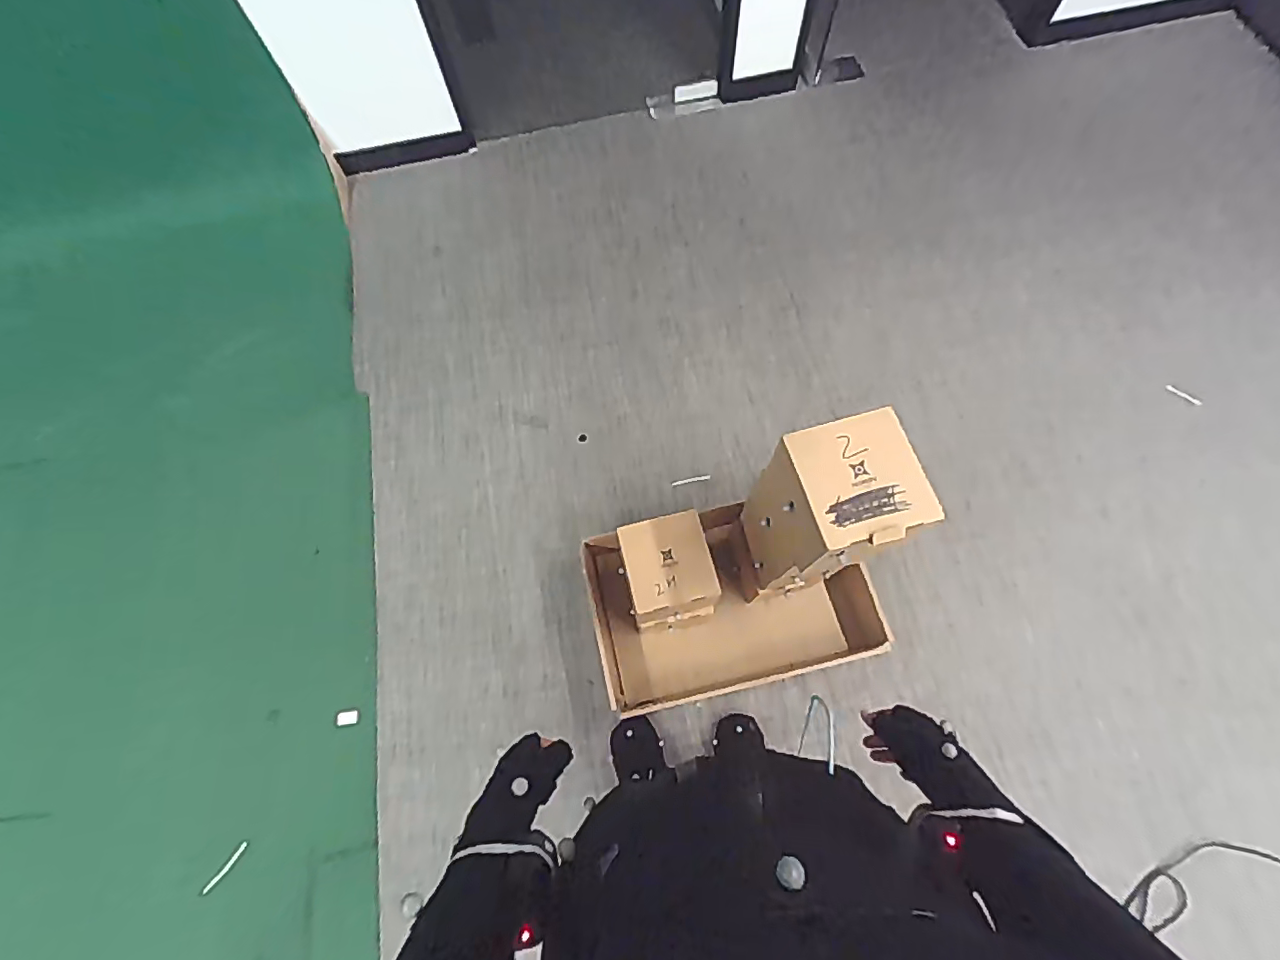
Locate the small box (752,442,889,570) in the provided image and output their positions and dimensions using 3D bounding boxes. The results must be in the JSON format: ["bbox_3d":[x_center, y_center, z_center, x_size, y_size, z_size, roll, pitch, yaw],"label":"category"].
[{"bbox_3d":[0.310,0.056,0.968,0.168,0.176,0.179,-12,70,-2],"label":"small box"}]

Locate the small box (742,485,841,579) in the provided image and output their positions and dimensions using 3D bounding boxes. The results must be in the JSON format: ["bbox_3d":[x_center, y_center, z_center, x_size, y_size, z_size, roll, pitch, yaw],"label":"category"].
[{"bbox_3d":[0.318,0.099,1.109,0.168,0.176,0.179,-13,70,-1],"label":"small box"}]

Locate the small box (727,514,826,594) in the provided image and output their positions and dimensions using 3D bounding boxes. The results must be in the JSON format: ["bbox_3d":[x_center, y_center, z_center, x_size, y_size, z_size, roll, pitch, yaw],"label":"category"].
[{"bbox_3d":[0.314,0.164,1.279,0.168,0.176,0.179,-18,70,-2],"label":"small box"}]

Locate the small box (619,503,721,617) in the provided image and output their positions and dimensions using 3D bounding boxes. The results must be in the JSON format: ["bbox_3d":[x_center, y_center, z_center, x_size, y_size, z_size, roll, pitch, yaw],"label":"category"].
[{"bbox_3d":[0.056,0.169,1.111,0.168,0.176,0.179,-14,70,-3],"label":"small box"}]
